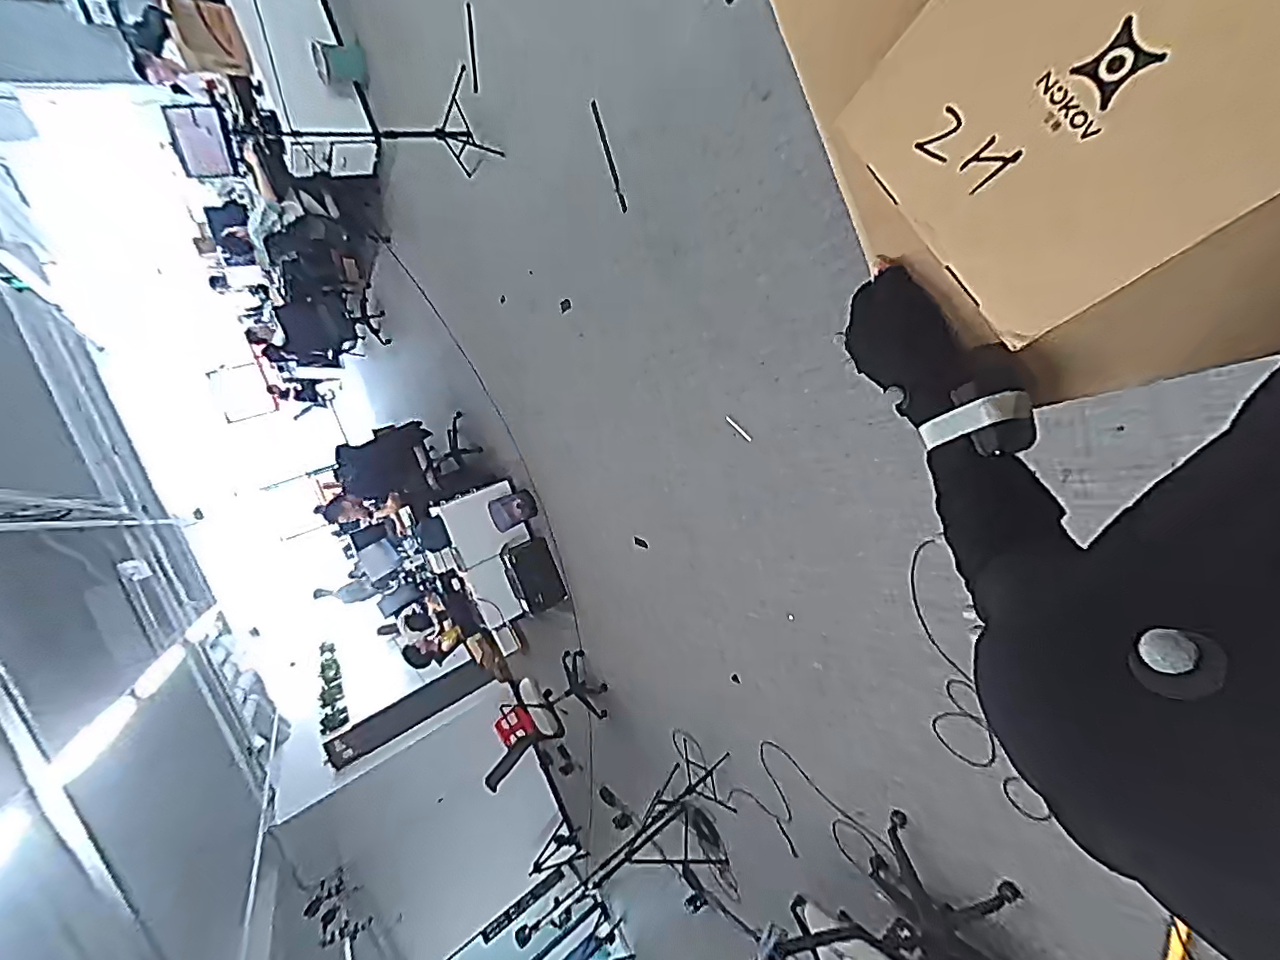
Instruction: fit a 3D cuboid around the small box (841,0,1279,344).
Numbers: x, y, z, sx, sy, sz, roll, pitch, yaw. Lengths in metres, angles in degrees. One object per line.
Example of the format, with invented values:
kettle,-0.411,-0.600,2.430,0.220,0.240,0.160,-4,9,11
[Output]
small box,0.253,-0.206,0.285,0.168,0.176,0.179,56,143,6
